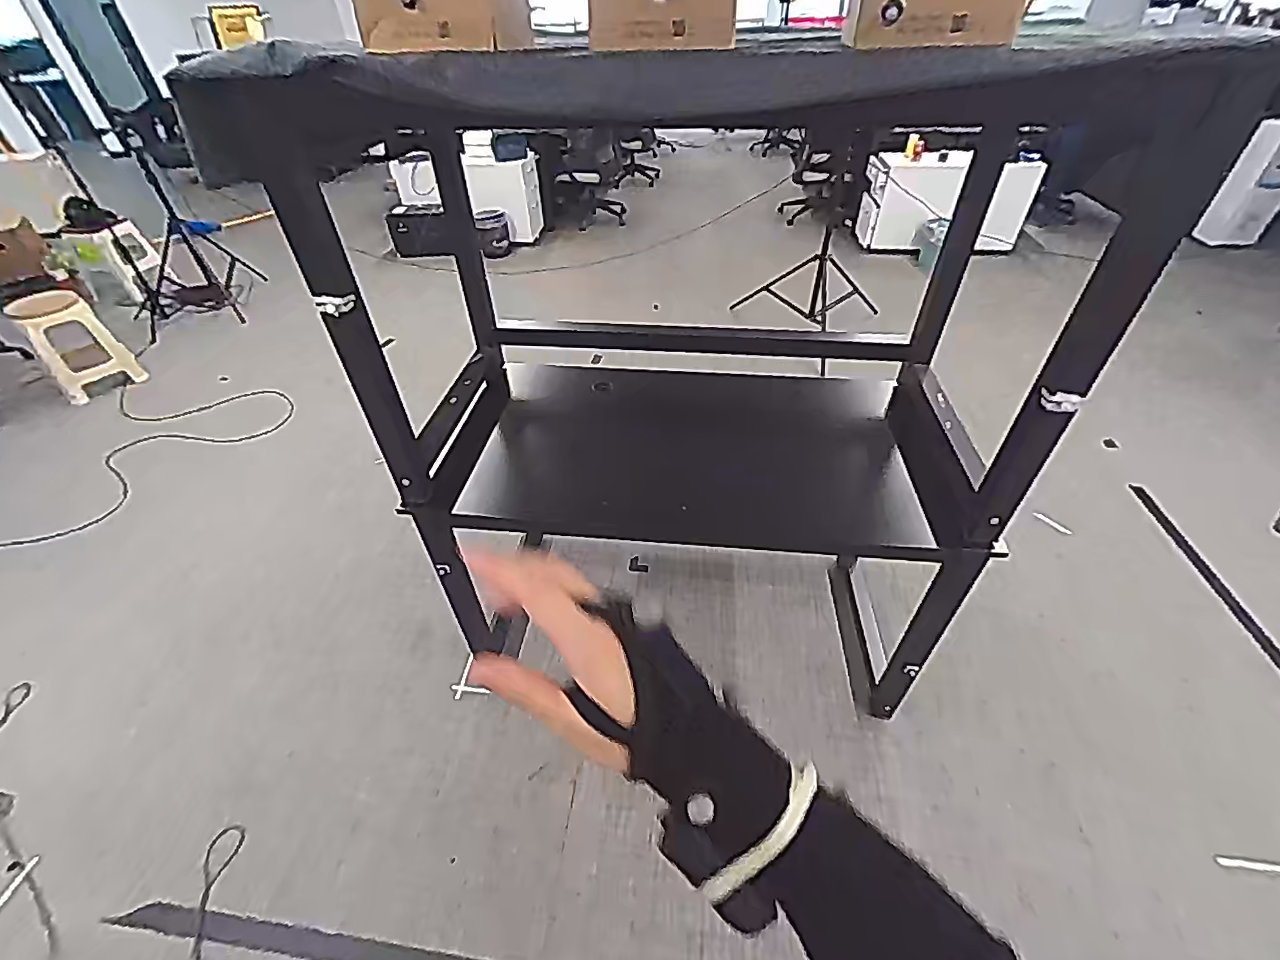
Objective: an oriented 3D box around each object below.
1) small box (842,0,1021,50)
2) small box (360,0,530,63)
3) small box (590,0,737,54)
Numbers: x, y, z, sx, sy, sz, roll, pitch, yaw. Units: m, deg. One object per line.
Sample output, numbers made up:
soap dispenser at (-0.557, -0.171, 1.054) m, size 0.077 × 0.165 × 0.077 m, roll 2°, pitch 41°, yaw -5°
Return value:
small box at (0.331, -0.591, 0.601) m, size 0.168 × 0.176 × 0.179 m, roll 6°, pitch 40°, yaw 9°
small box at (-0.238, -0.620, 0.655) m, size 0.168 × 0.176 × 0.179 m, roll 4°, pitch 41°, yaw 4°
small box at (0.033, -0.606, 0.628) m, size 0.168 × 0.176 × 0.179 m, roll 4°, pitch 40°, yaw 7°
